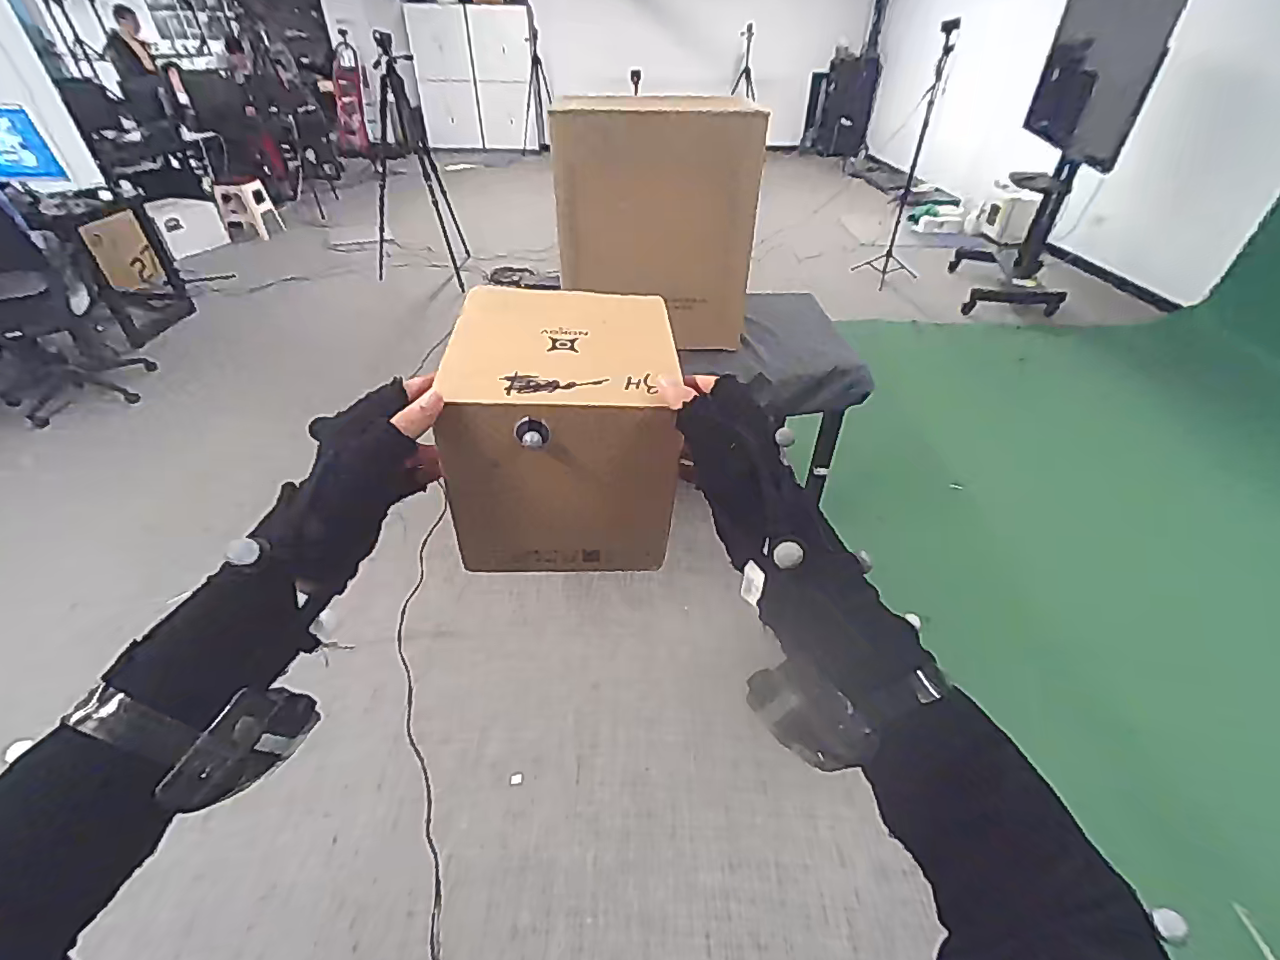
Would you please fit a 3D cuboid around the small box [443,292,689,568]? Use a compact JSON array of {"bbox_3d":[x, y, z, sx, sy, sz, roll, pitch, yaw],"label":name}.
[{"bbox_3d":[-0.058,-0.045,0.470,0.168,0.176,0.179,1,41,-5],"label":"small box"}]
